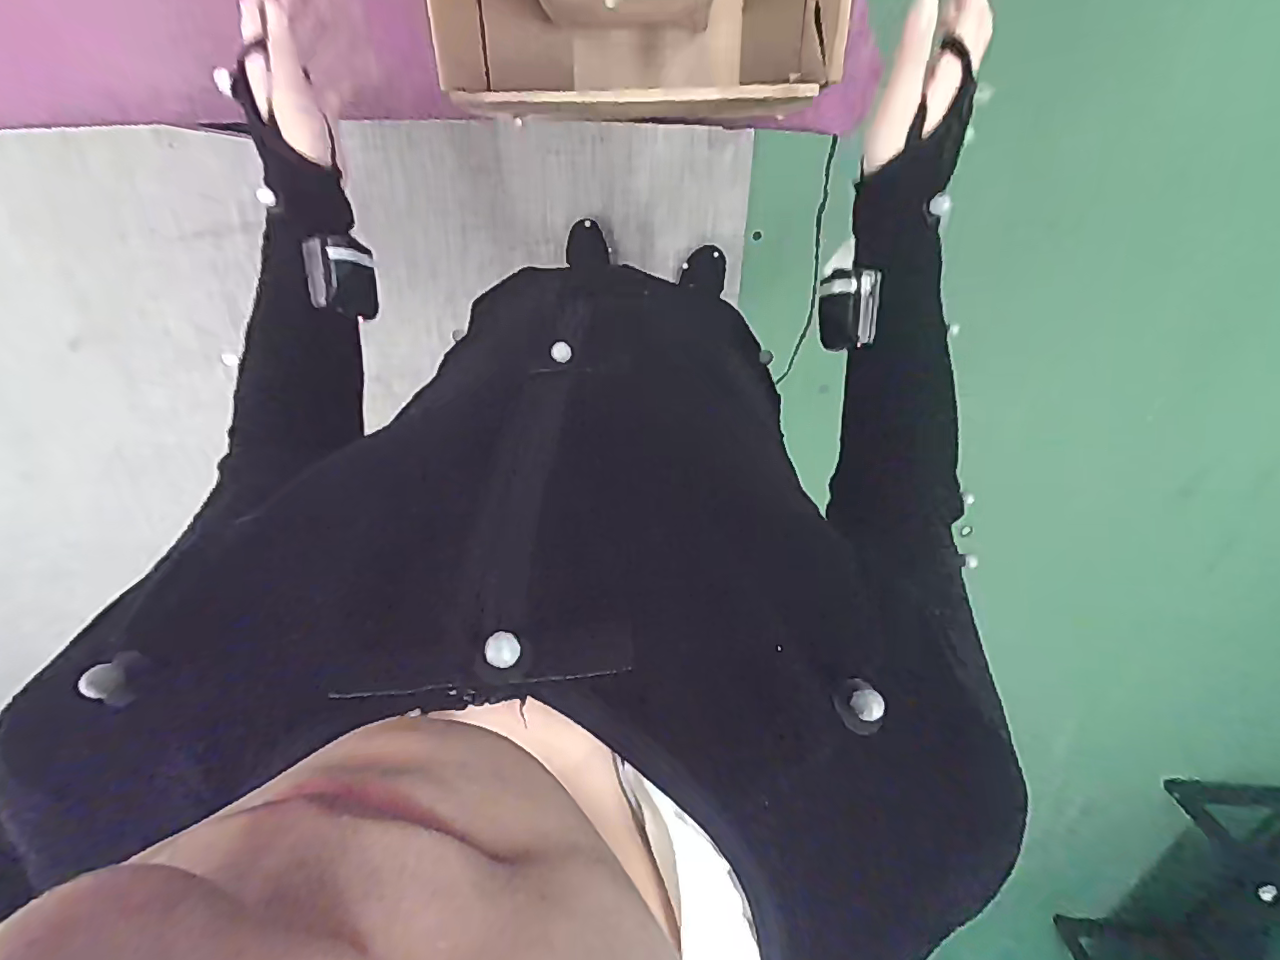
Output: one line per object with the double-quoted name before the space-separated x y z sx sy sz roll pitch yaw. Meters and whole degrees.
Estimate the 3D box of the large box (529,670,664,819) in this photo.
"large box" -0.156 1.010 2.081 0.408 0.320 0.320 -29 113 13
